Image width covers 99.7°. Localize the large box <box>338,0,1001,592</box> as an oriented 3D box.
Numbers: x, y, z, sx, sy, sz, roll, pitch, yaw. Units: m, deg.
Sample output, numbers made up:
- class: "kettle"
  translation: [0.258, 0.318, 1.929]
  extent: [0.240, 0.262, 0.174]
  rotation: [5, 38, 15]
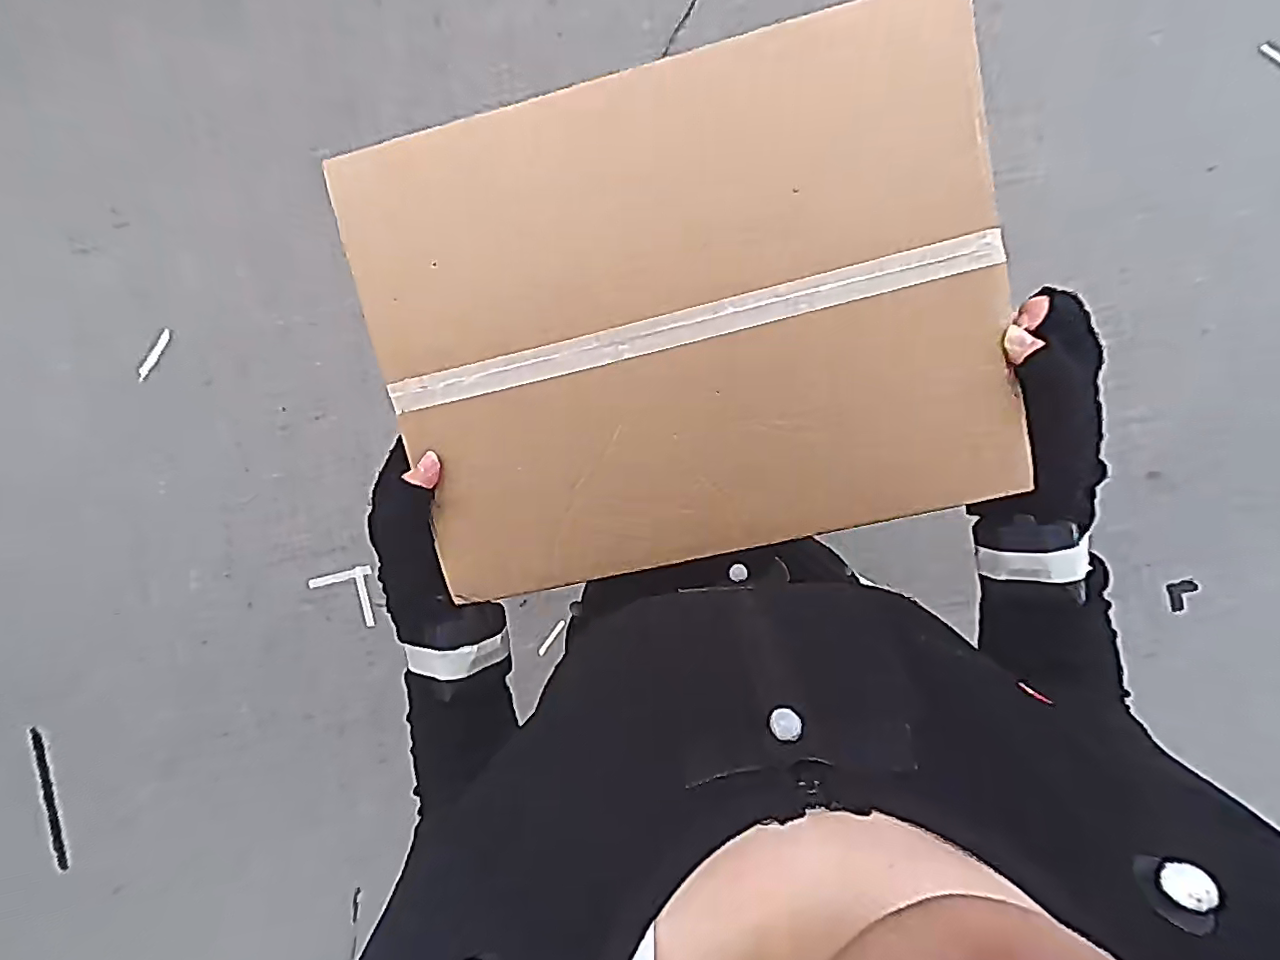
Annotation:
- class: "large box"
  translation: [0.032, -0.131, 0.512]
  extent: [0.408, 0.320, 0.320]
  rotation: [-12, 98, 6]
